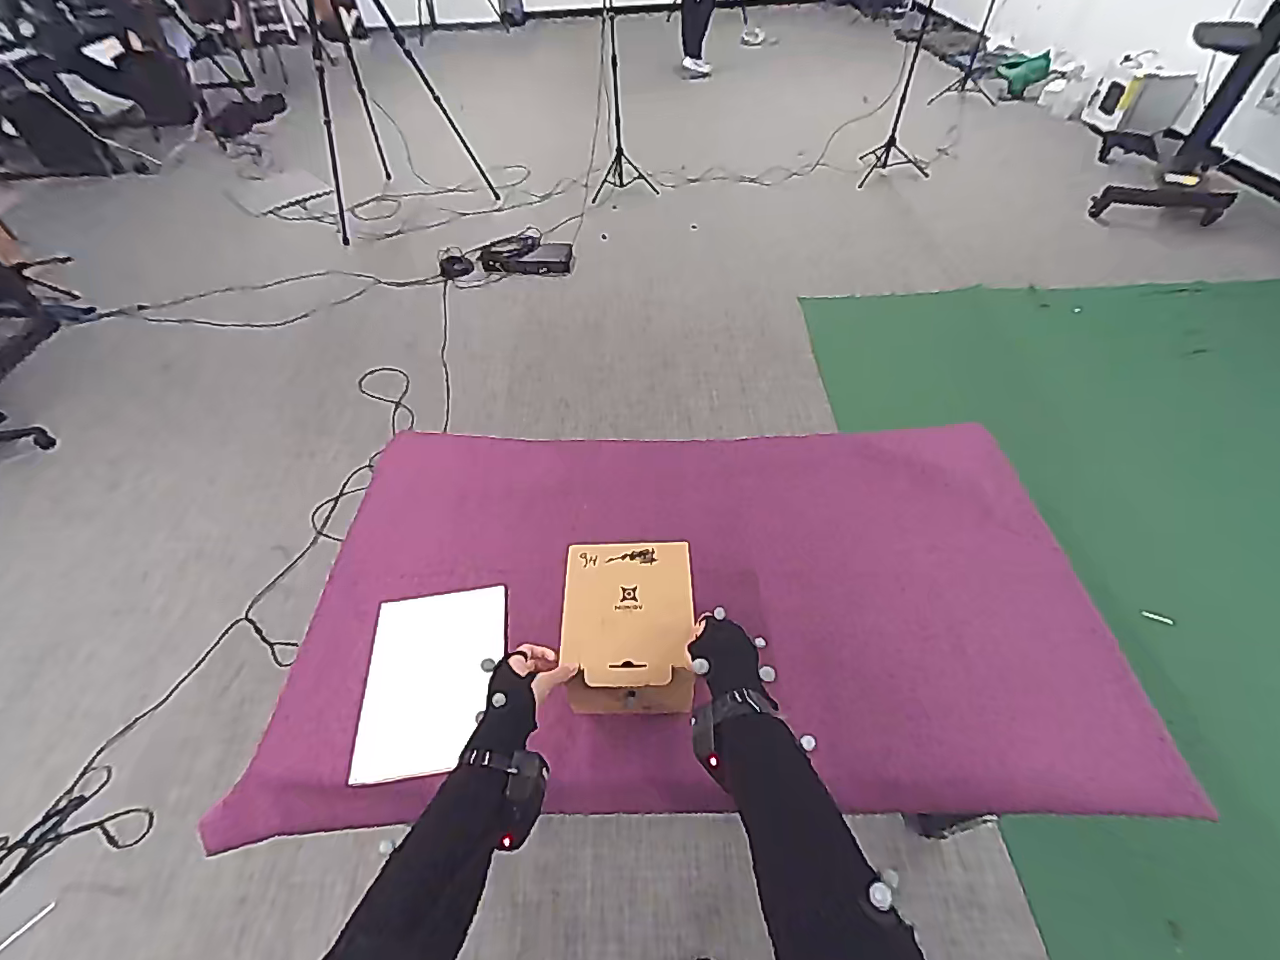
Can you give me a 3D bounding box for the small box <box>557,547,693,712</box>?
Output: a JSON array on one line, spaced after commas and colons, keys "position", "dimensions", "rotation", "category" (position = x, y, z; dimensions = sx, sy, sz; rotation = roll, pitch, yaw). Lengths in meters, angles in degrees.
[{"position": [-0.013, 0.211, 0.749], "dimensions": [0.168, 0.176, 0.179], "rotation": [-1, 50, 1], "category": "small box"}]
